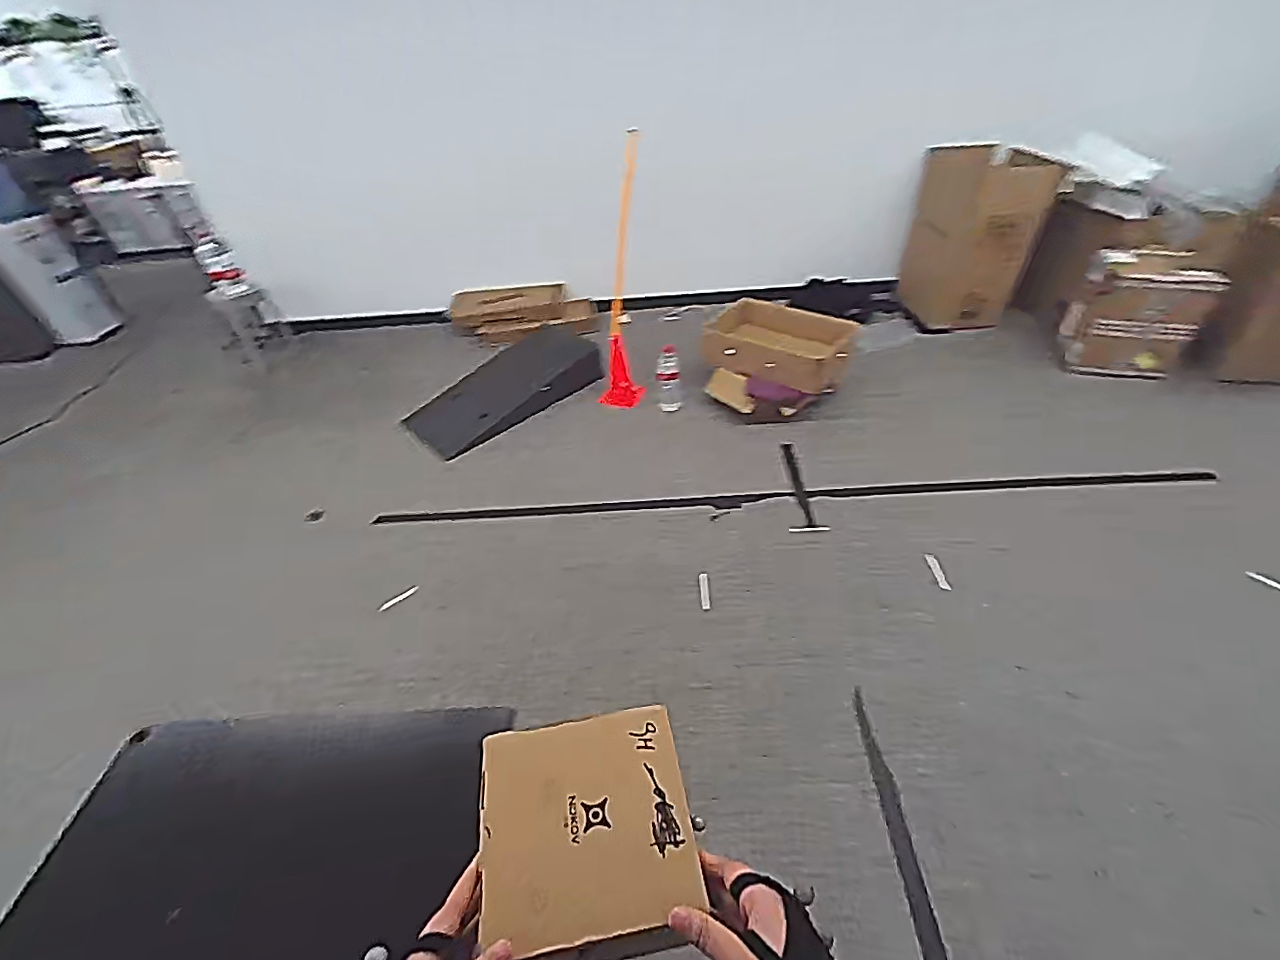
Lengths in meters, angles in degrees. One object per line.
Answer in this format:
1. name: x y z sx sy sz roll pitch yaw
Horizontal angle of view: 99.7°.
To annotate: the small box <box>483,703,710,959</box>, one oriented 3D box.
1. small box: -0.040 0.340 0.515 0.179 0.176 0.168 -7 44 -6
